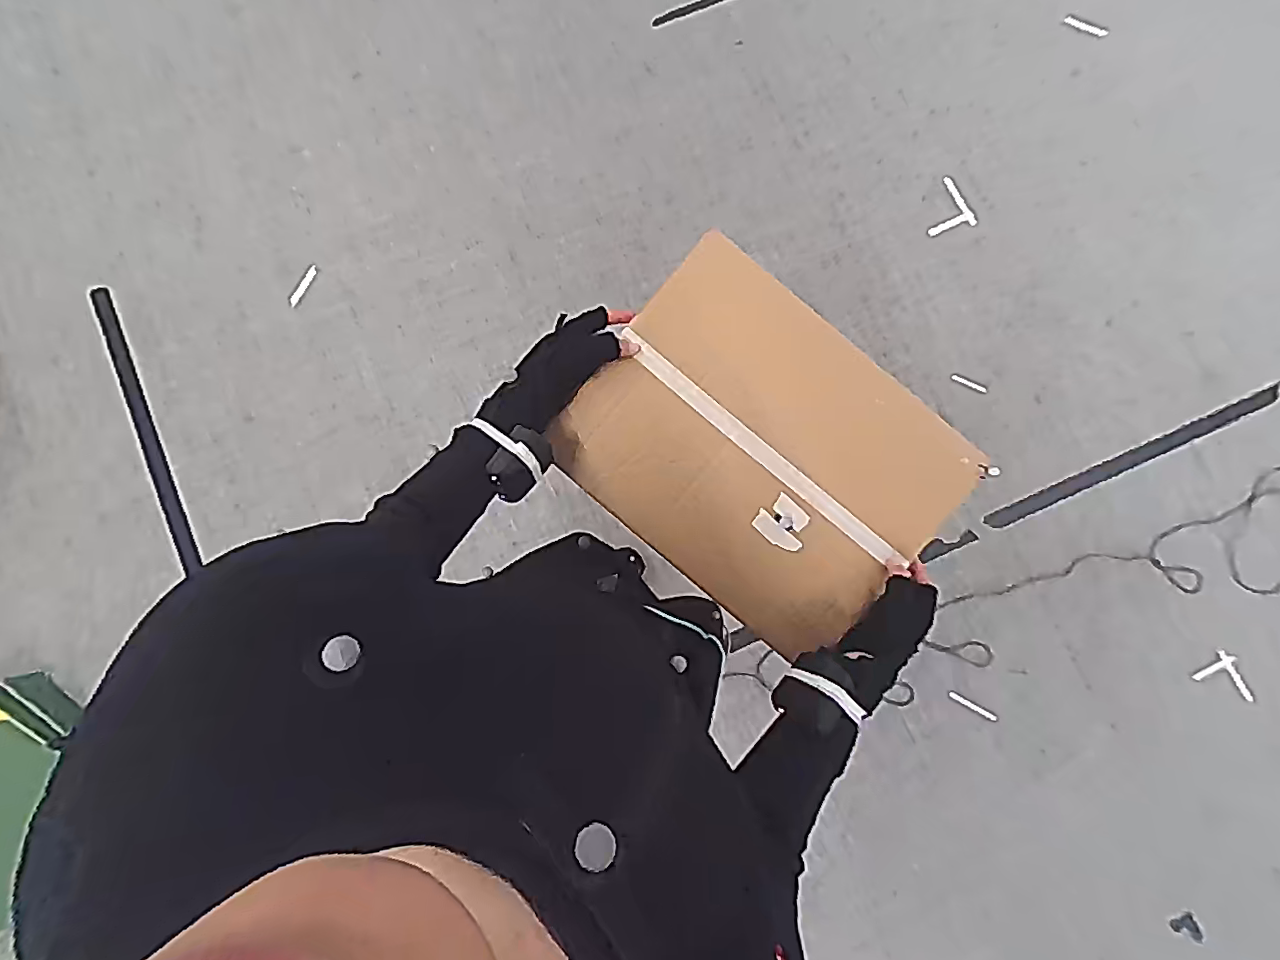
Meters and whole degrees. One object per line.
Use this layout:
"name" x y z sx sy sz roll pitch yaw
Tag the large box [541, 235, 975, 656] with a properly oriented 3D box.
"large box" 0.130 -0.039 0.757 0.408 0.320 0.320 40 90 -1
